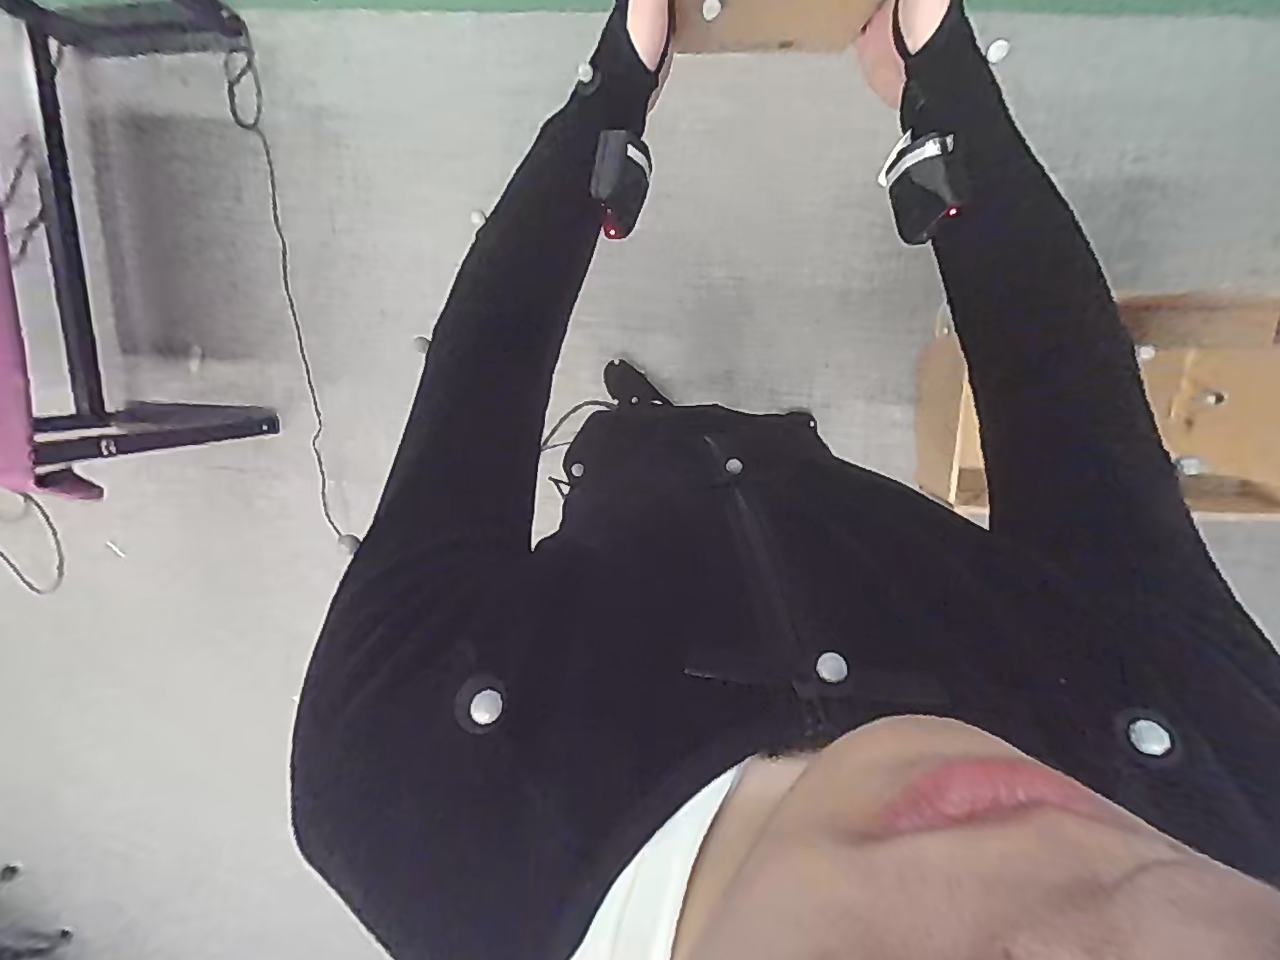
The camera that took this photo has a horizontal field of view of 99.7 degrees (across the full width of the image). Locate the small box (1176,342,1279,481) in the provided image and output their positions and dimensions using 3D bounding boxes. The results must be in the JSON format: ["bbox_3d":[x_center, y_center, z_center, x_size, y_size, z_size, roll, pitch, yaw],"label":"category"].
[{"bbox_3d":[0.860,-0.090,0.688,0.179,0.176,0.168,1,102,6],"label":"small box"}]

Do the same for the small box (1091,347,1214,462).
[{"bbox_3d":[0.870,-0.120,0.847,0.179,0.176,0.168,2,101,5],"label":"small box"}]
